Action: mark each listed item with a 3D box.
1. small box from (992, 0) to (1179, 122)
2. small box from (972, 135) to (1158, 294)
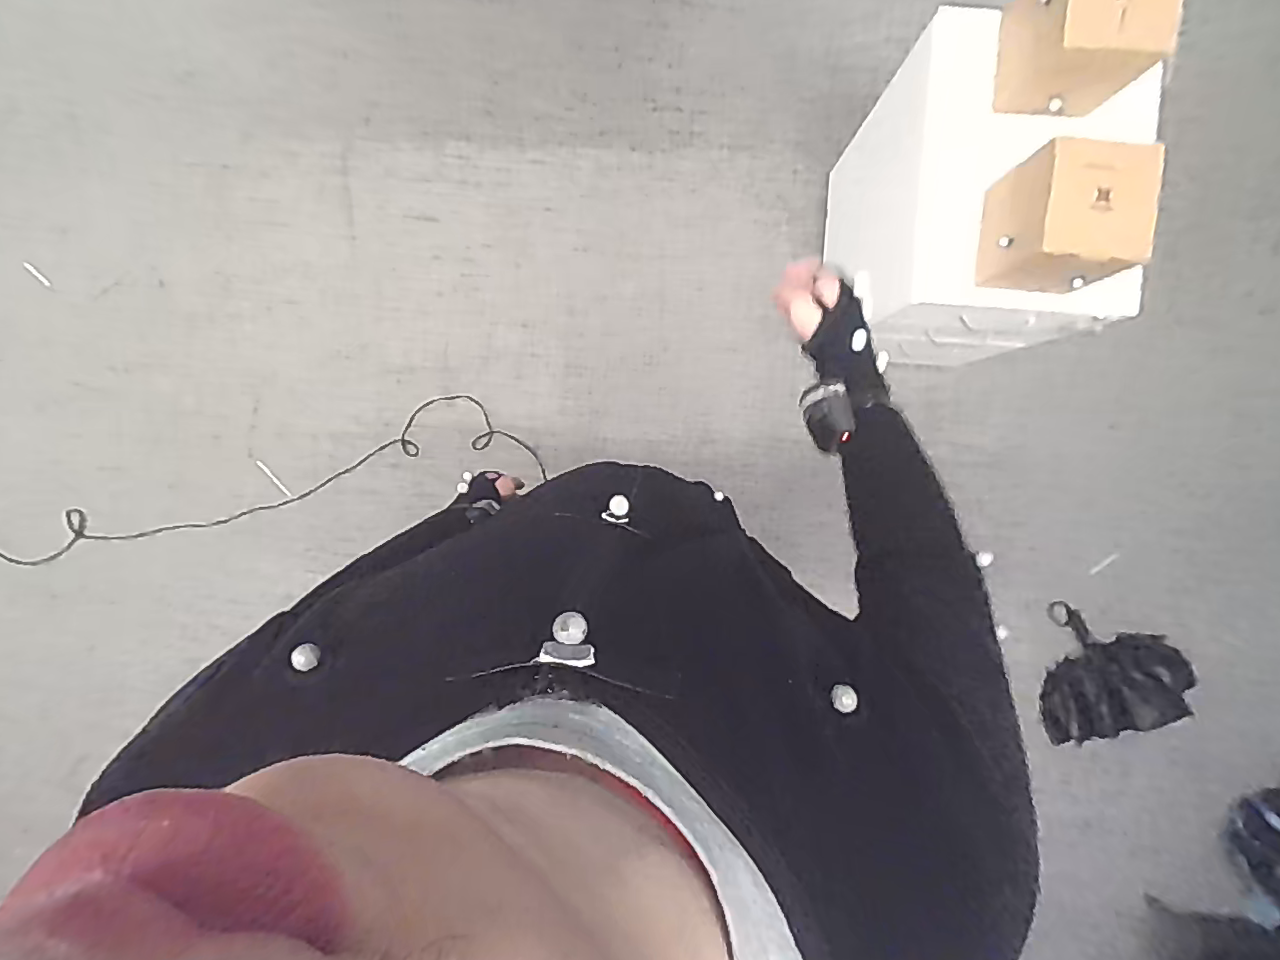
[{"bbox_3d":[0.698,-0.715,0.861,0.168,0.176,0.179,3,95,-1],"label":"small box"},{"bbox_3d":[0.675,-0.417,0.880,0.168,0.176,0.179,5,91,-2],"label":"small box"}]
